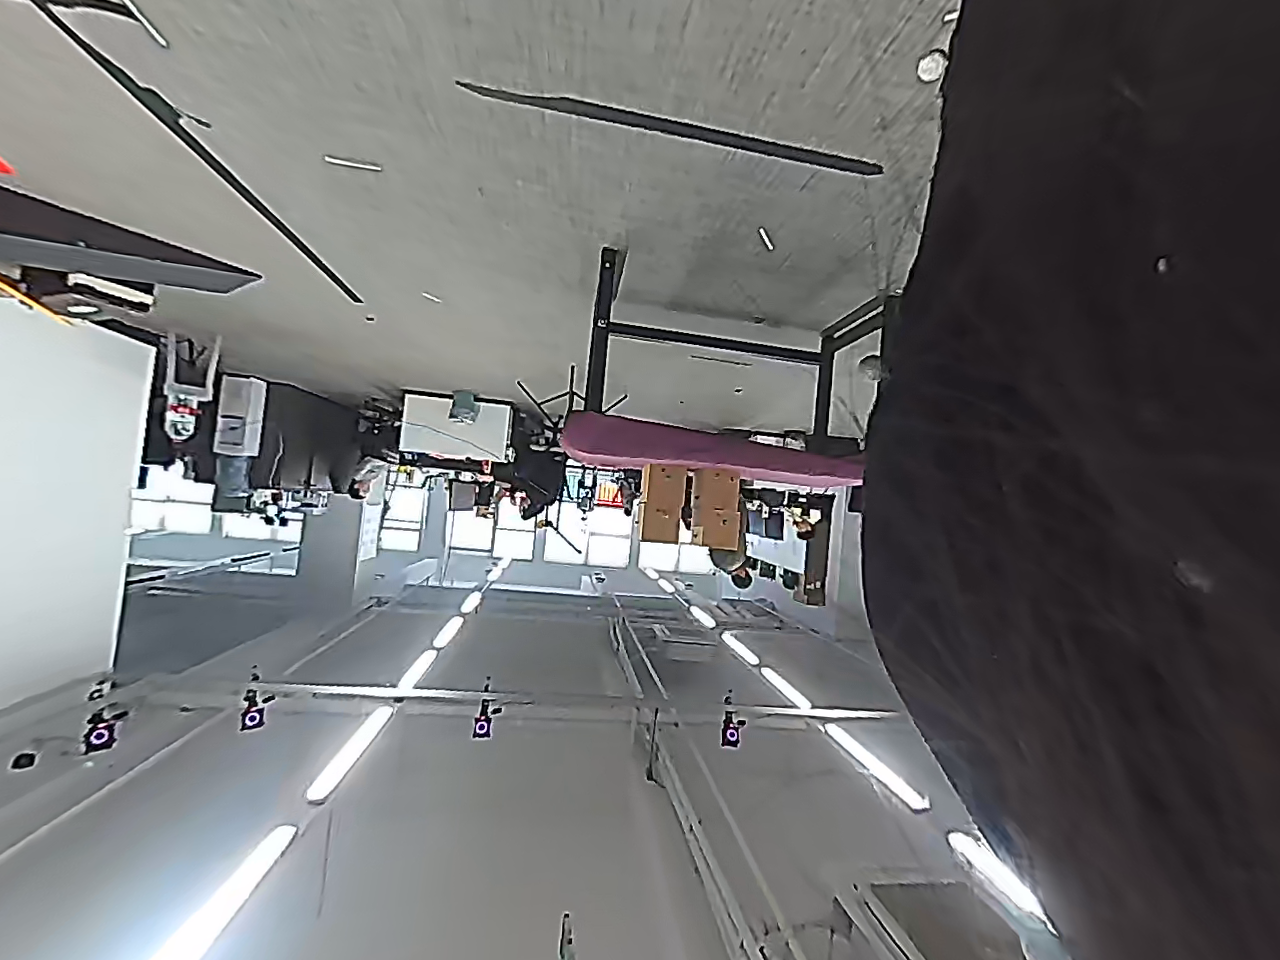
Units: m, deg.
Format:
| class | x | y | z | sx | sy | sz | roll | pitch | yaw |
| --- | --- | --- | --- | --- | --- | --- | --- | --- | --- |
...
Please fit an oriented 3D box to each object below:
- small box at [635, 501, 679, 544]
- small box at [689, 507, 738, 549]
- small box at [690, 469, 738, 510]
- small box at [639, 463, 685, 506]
| class | x | y | z | sx | sy | sz | roll | pitch | yaw |
| --- | --- | --- | --- | --- | --- | --- | --- | --- | --- |
| small box | 0.074 | 0.181 | 2.352 | 0.168 | 0.176 | 0.179 | 5 | 176 | -7 |
| small box | 0.323 | 0.205 | 2.372 | 0.168 | 0.176 | 0.179 | 6 | 176 | -11 |
| small box | 0.325 | 0.041 | 2.373 | 0.168 | 0.176 | 0.179 | 6 | 177 | -9 |
| small box | 0.095 | 0.020 | 2.356 | 0.168 | 0.176 | 0.179 | 5 | 177 | -9 |
